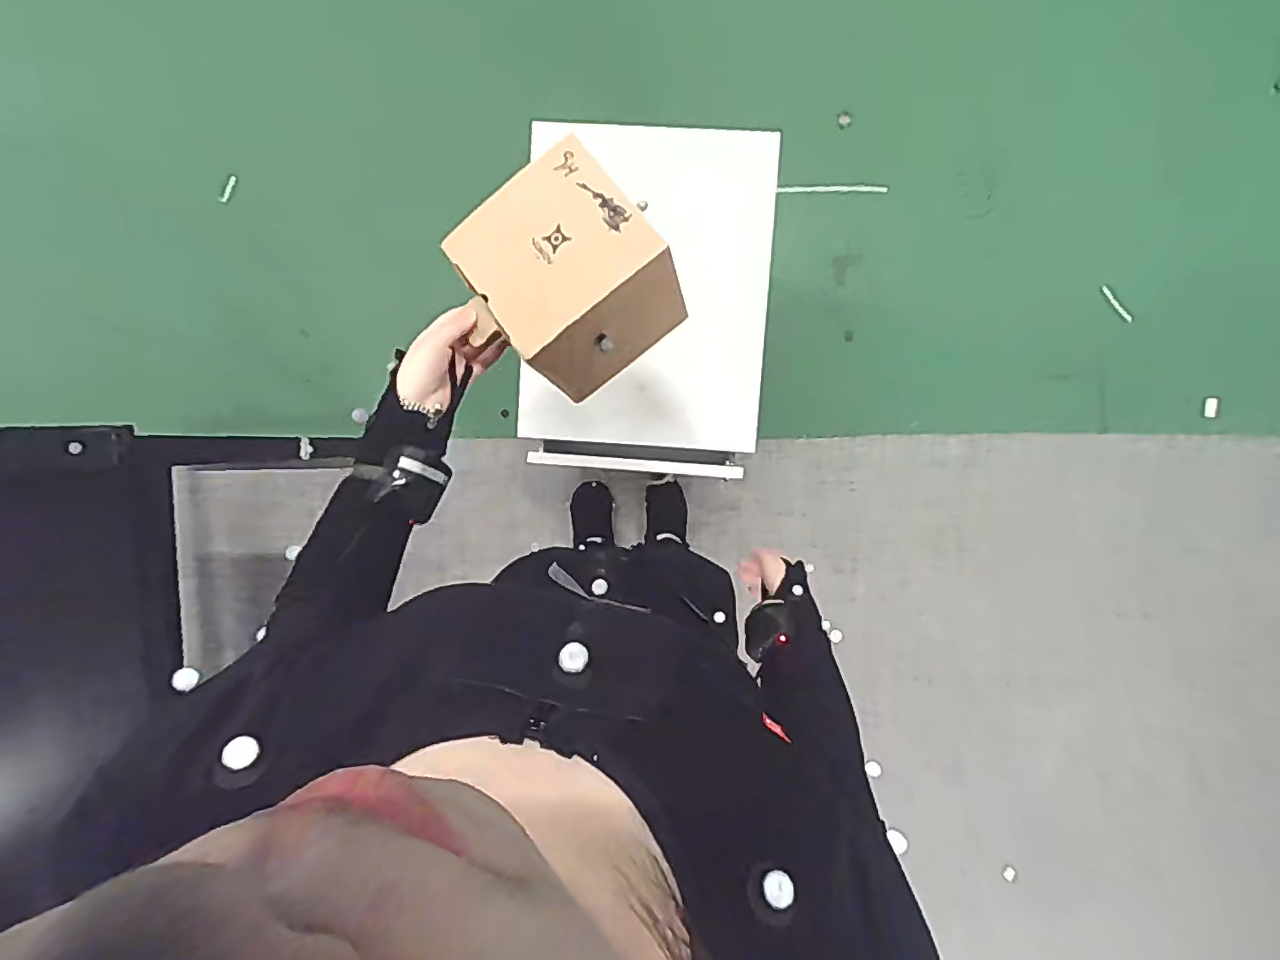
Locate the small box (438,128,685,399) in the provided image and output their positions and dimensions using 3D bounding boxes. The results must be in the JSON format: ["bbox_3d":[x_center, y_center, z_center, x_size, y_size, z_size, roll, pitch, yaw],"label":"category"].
[{"bbox_3d":[-0.071,-0.213,0.584,0.179,0.176,0.168,-38,78,7],"label":"small box"}]
